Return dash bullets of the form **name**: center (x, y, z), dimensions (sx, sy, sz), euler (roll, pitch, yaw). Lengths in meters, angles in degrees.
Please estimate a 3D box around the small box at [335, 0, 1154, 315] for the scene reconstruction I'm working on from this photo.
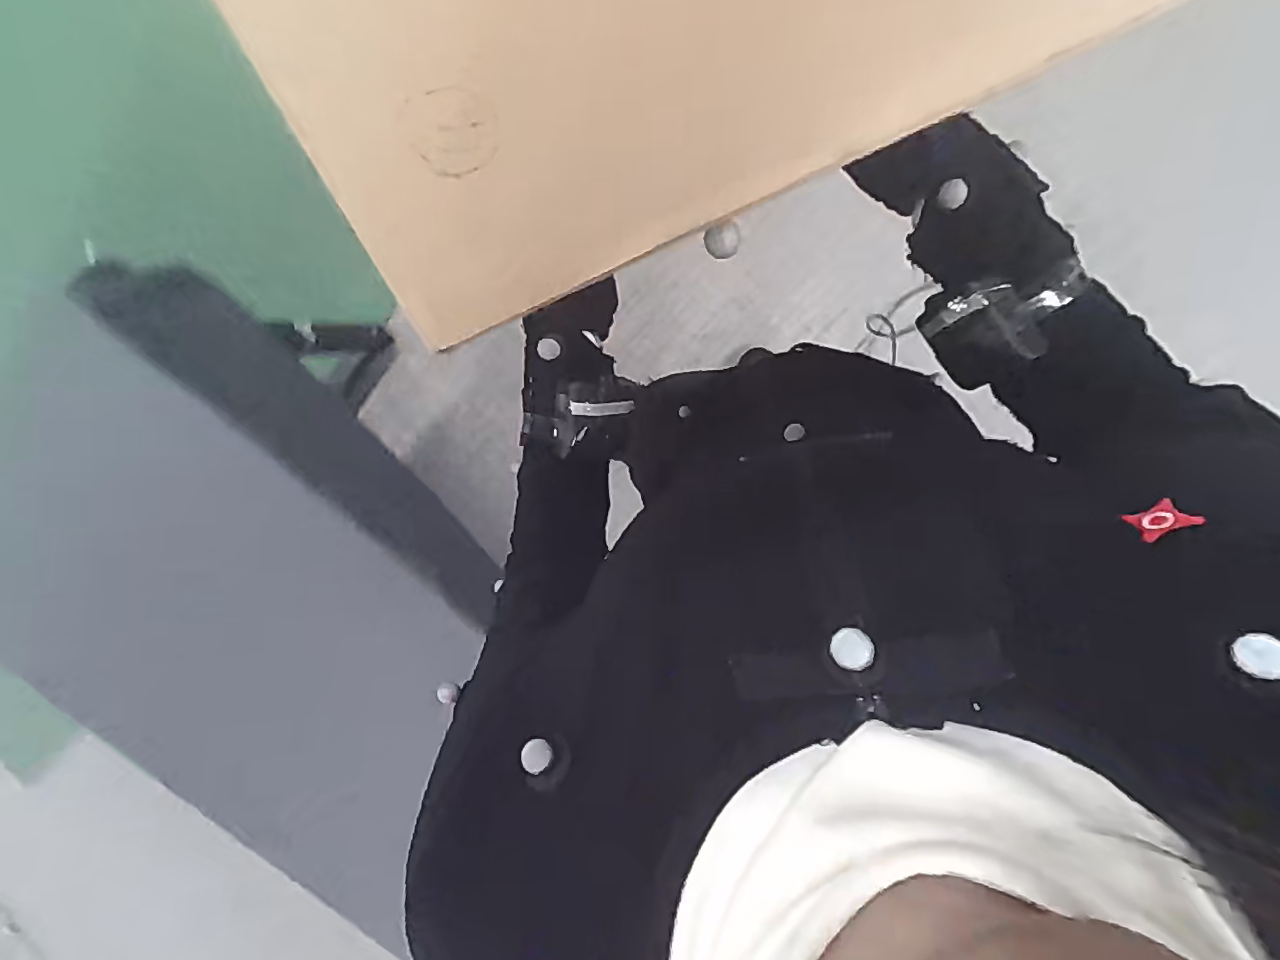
- **small box**: center (0.014, -0.175, 0.156), dimensions (0.179, 0.176, 0.168), euler (-22, 114, 14)
